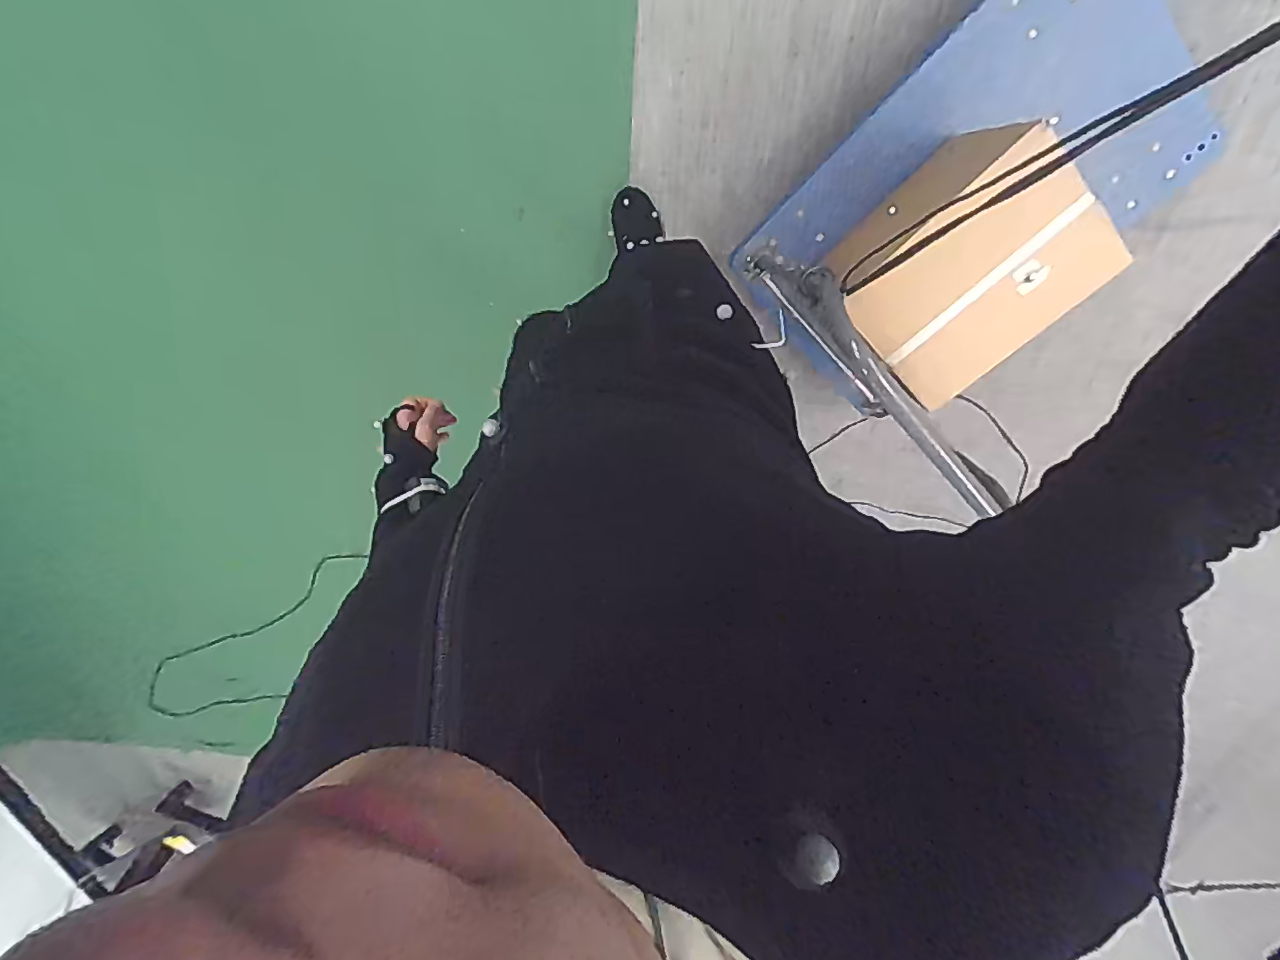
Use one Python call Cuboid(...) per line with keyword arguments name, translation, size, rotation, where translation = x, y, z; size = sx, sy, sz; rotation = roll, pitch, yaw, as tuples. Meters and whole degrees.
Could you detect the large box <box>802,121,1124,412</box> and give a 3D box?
Cuboid(name="large box", translation=(0.609, -0.419, 1.102), size=(0.320, 0.320, 0.408), rotation=(41, 113, -18))
